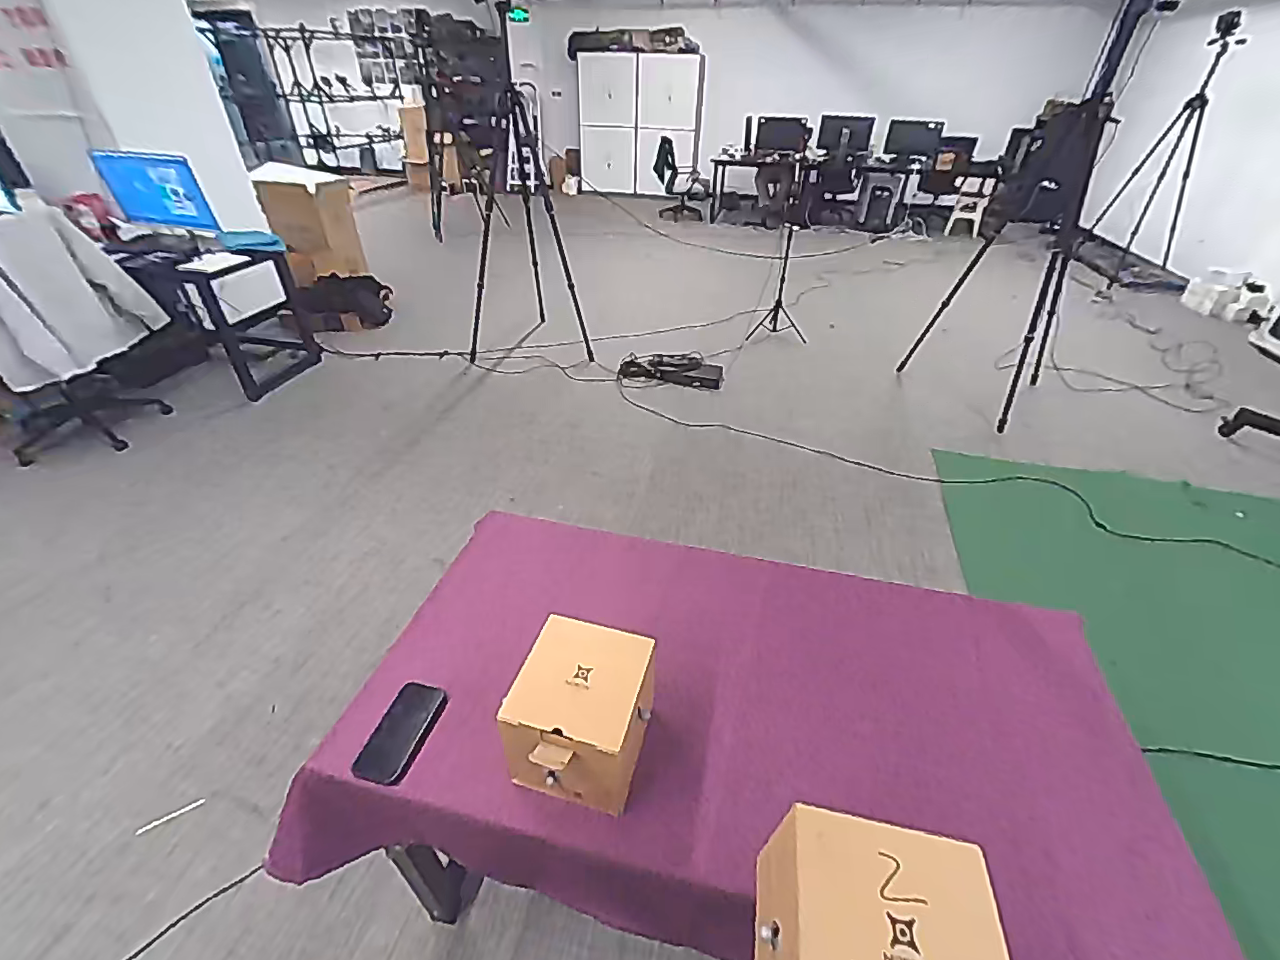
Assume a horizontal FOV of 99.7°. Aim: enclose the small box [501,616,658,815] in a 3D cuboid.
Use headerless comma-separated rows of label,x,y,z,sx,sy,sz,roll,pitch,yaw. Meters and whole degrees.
small box,-0.080,0.333,0.774,0.168,0.176,0.179,12,37,12
